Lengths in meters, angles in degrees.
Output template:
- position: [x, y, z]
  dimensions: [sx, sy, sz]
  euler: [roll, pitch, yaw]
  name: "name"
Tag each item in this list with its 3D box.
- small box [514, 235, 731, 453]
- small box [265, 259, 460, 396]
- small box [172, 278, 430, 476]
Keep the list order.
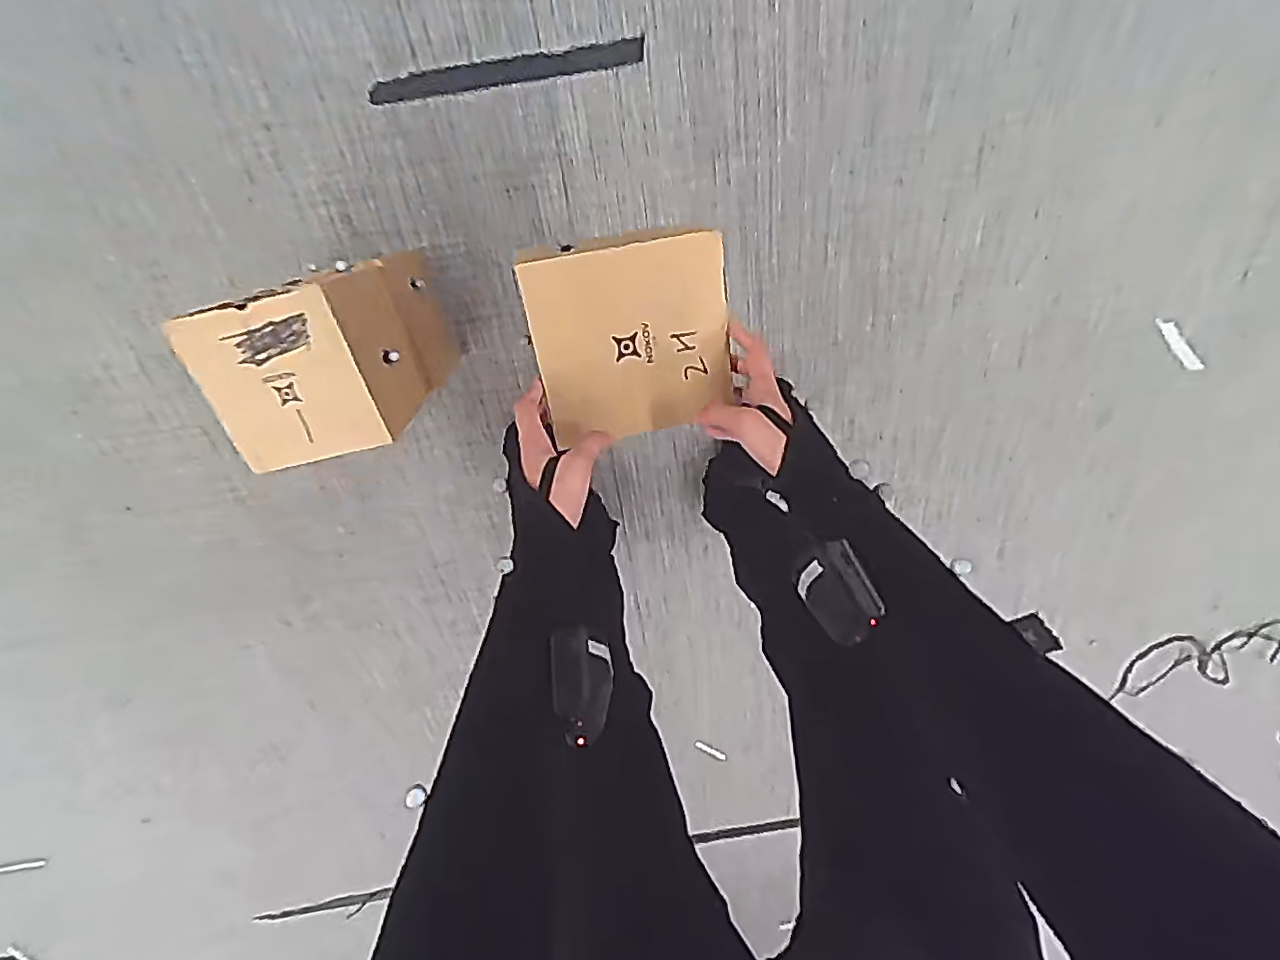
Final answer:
- position: [-0.022, -0.145, 0.540]
  dimensions: [0.179, 0.176, 0.168]
  euler: [-12, 118, -8]
  name: "small box"
- position: [-0.382, -0.211, 0.782]
  dimensions: [0.168, 0.176, 0.179]
  euler: [-14, 118, 2]
  name: "small box"
- position: [-0.374, -0.131, 0.639]
  dimensions: [0.168, 0.176, 0.179]
  euler: [-12, 118, 1]
  name: "small box"
